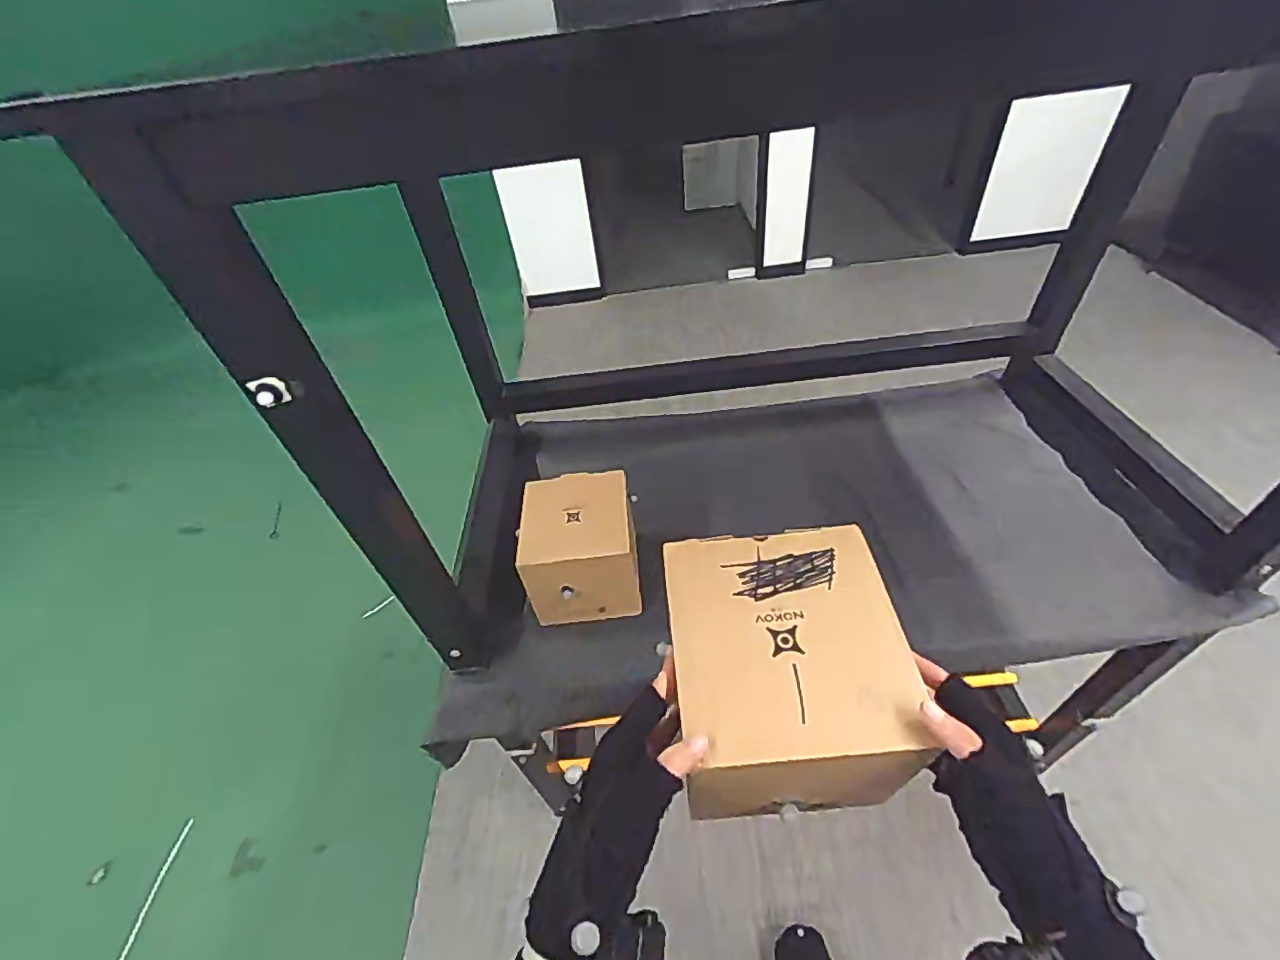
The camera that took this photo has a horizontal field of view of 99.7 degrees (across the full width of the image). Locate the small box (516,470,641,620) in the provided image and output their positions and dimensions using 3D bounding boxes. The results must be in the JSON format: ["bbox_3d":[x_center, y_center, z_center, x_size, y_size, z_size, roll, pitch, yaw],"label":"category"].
[{"bbox_3d":[-0.091,0.111,0.873,0.168,0.176,0.179,-7,43,1],"label":"small box"}]
